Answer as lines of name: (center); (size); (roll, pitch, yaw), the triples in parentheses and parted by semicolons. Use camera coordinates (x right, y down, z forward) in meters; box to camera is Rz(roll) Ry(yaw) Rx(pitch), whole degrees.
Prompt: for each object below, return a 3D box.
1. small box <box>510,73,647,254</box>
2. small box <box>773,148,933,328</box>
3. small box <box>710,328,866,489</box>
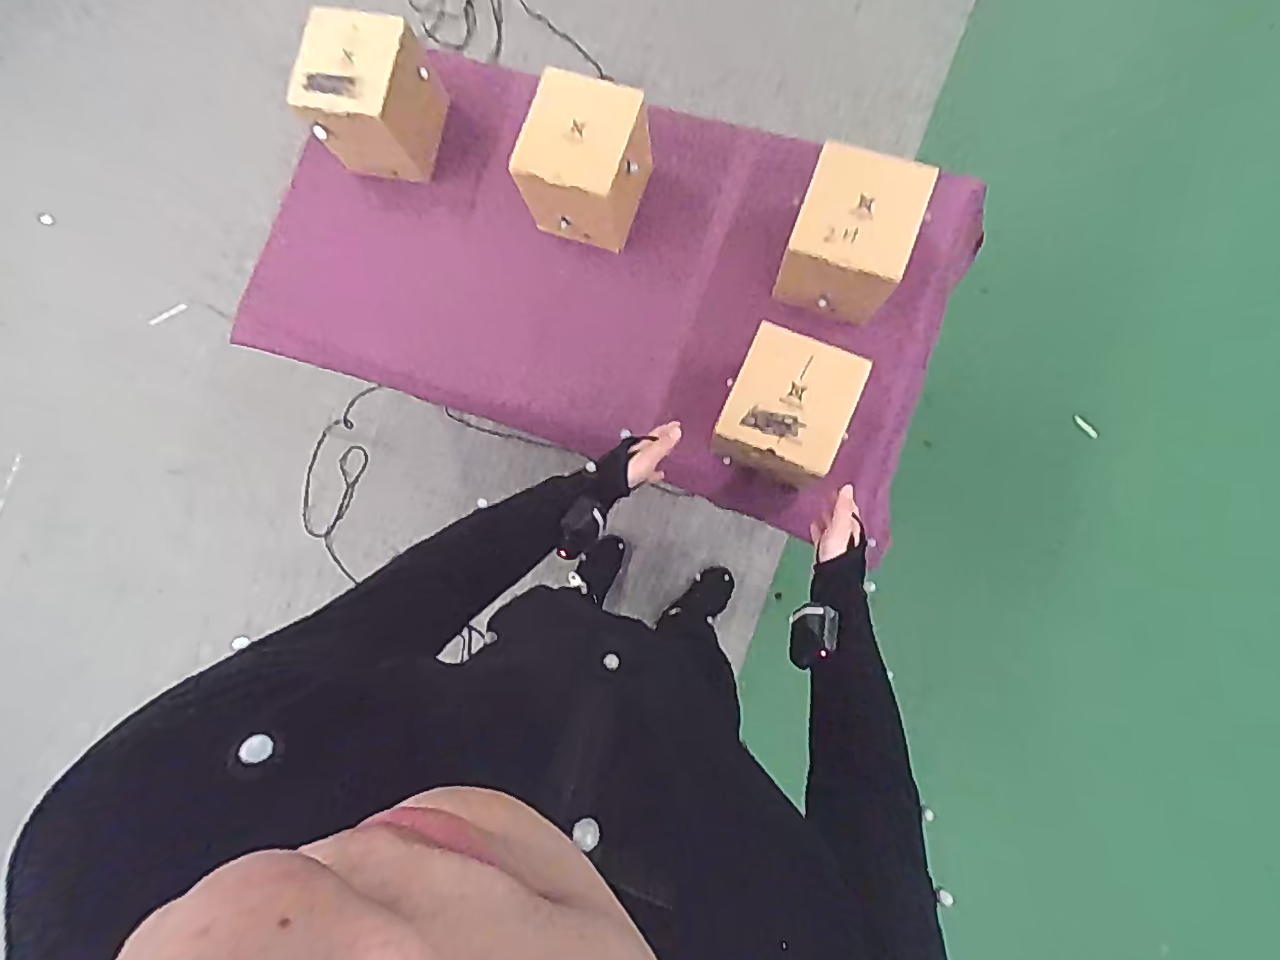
small box: (-0.091, -0.517, 0.904); (0.168, 0.176, 0.179); (19, 87, 6)
small box: (0.321, -0.370, 0.852); (0.168, 0.176, 0.179); (20, 87, 7)
small box: (0.216, -0.098, 0.834); (0.168, 0.176, 0.179); (24, 85, 7)
